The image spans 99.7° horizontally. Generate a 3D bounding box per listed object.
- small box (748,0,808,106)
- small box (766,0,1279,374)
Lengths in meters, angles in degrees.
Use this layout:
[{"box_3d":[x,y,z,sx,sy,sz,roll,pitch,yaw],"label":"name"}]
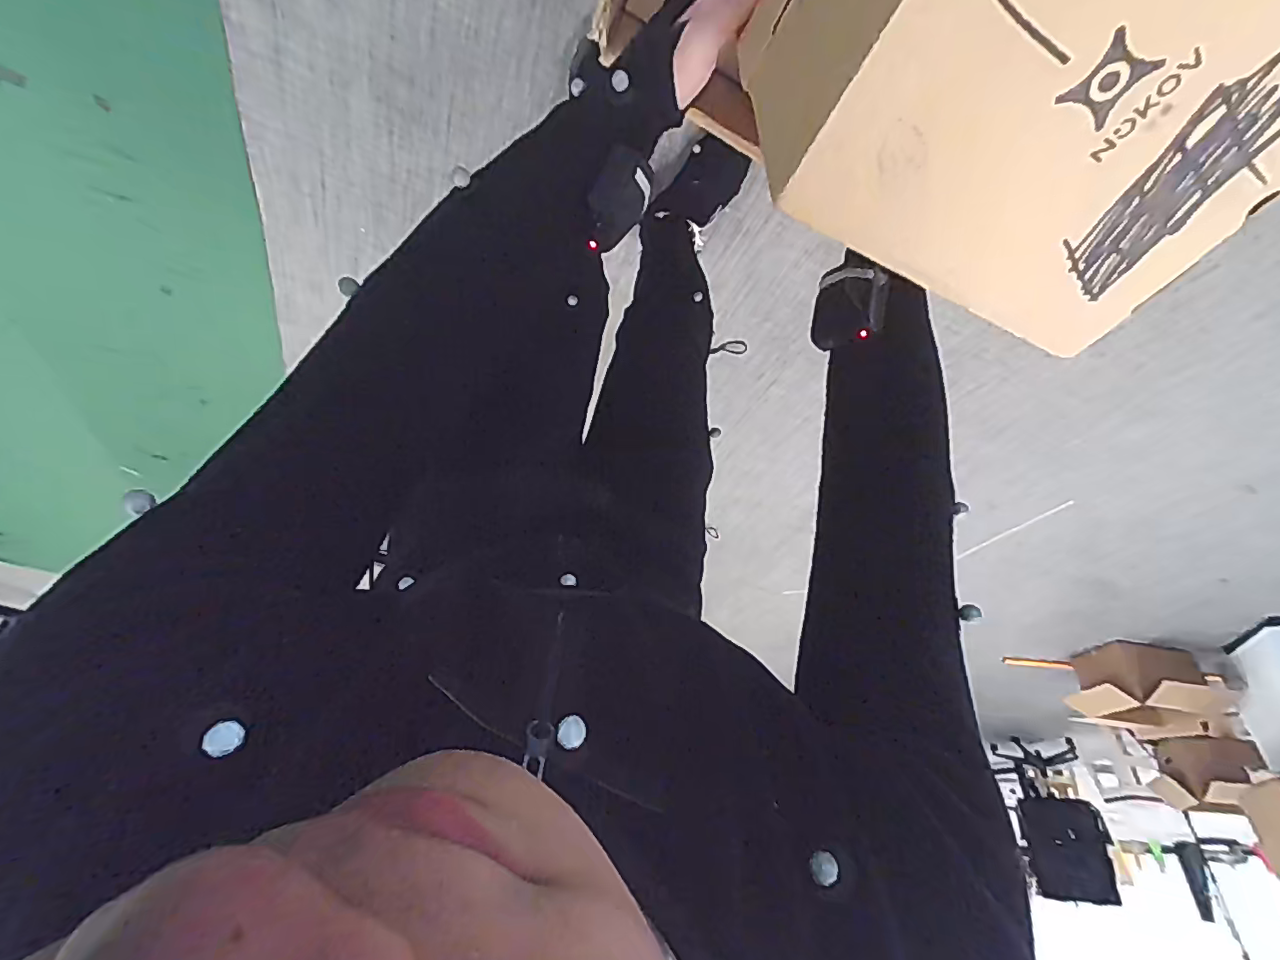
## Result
[{"box_3d":[0.185,-0.311,0.350,0.179,0.176,0.168,21,138,-17],"label":"small box"},{"box_3d":[0.177,-0.186,0.243,0.179,0.176,0.168,20,138,-16],"label":"small box"}]
